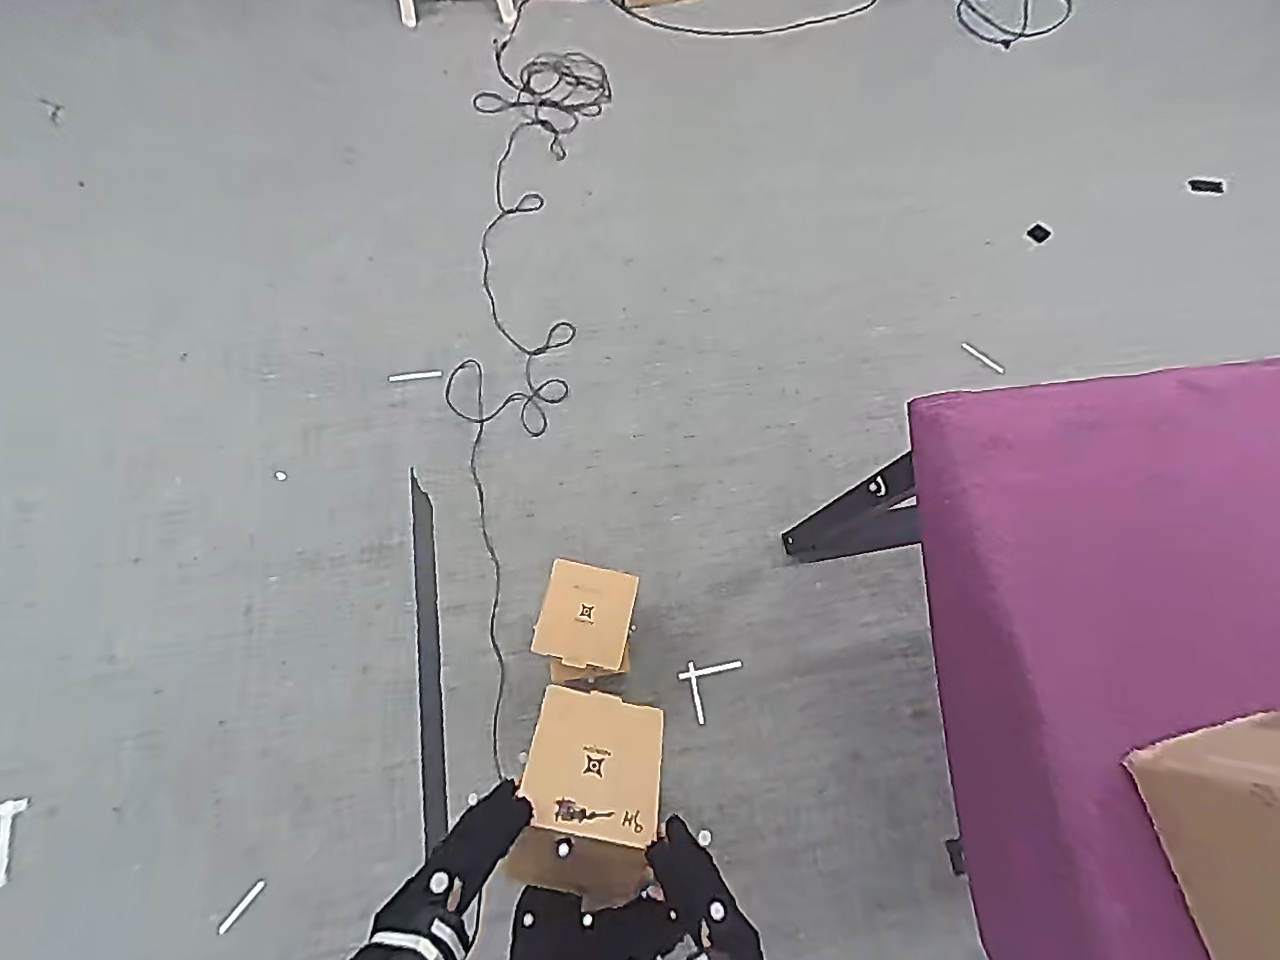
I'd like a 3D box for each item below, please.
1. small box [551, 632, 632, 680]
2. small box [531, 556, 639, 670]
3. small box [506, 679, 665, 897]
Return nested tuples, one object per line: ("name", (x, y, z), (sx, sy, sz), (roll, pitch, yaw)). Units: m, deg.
("small box", (-0.112, 0.341, 1.202), (0.168, 0.176, 0.179), (-6, 73, -5))
("small box", (-0.101, 0.263, 1.056), (0.168, 0.176, 0.179), (13, 71, 0))
("small box", (-0.071, 0.400, 0.708), (0.168, 0.176, 0.179), (13, 34, -3))
